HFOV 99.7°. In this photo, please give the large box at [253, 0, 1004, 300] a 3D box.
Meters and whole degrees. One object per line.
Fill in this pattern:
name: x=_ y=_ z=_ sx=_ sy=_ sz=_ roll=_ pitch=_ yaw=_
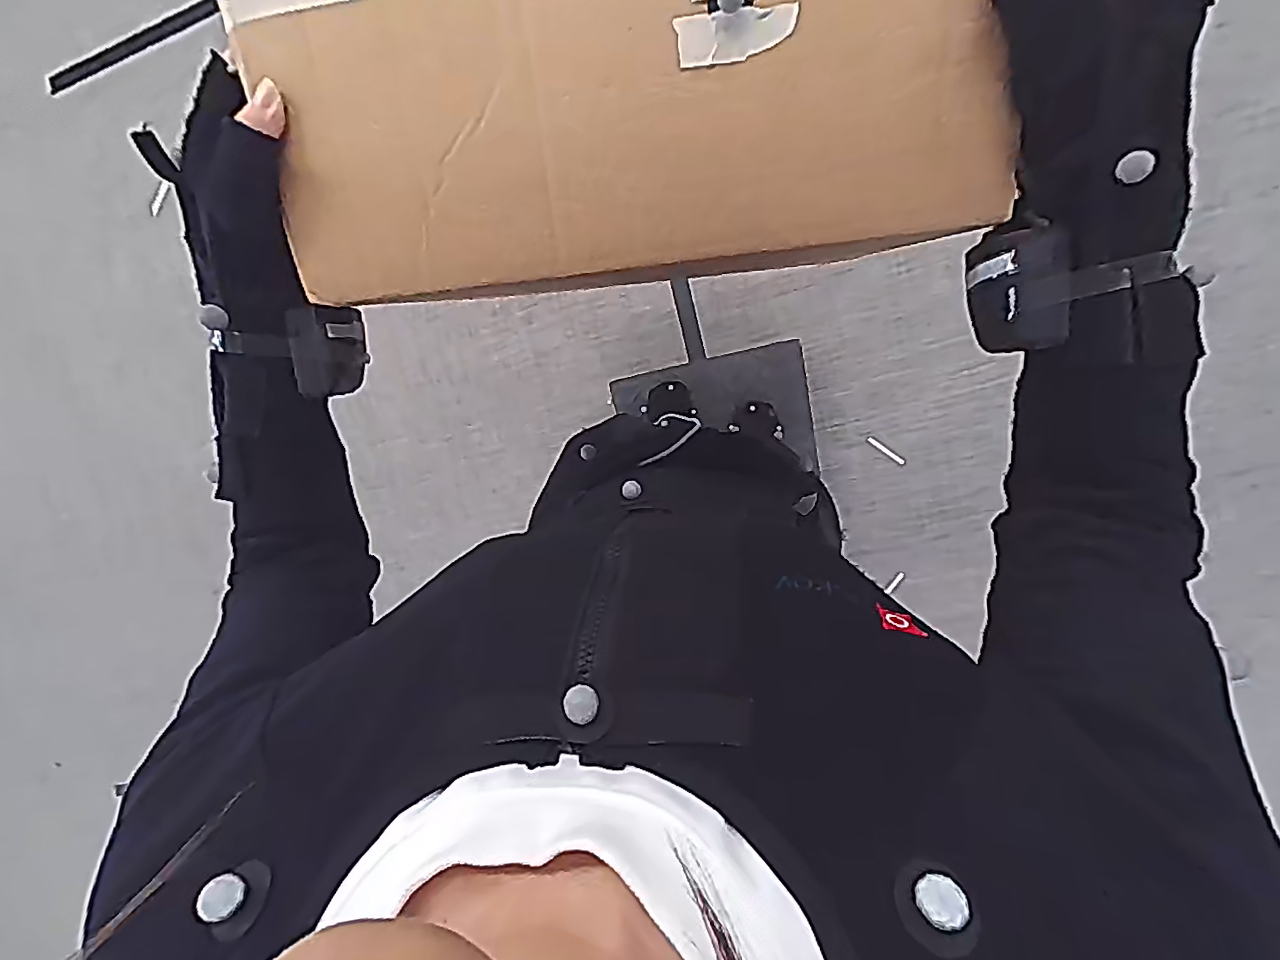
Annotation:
large box: x=-0.007 y=-0.326 z=0.416 sx=0.408 sy=0.320 sz=0.320 roll=-4 pitch=109 yaw=8
